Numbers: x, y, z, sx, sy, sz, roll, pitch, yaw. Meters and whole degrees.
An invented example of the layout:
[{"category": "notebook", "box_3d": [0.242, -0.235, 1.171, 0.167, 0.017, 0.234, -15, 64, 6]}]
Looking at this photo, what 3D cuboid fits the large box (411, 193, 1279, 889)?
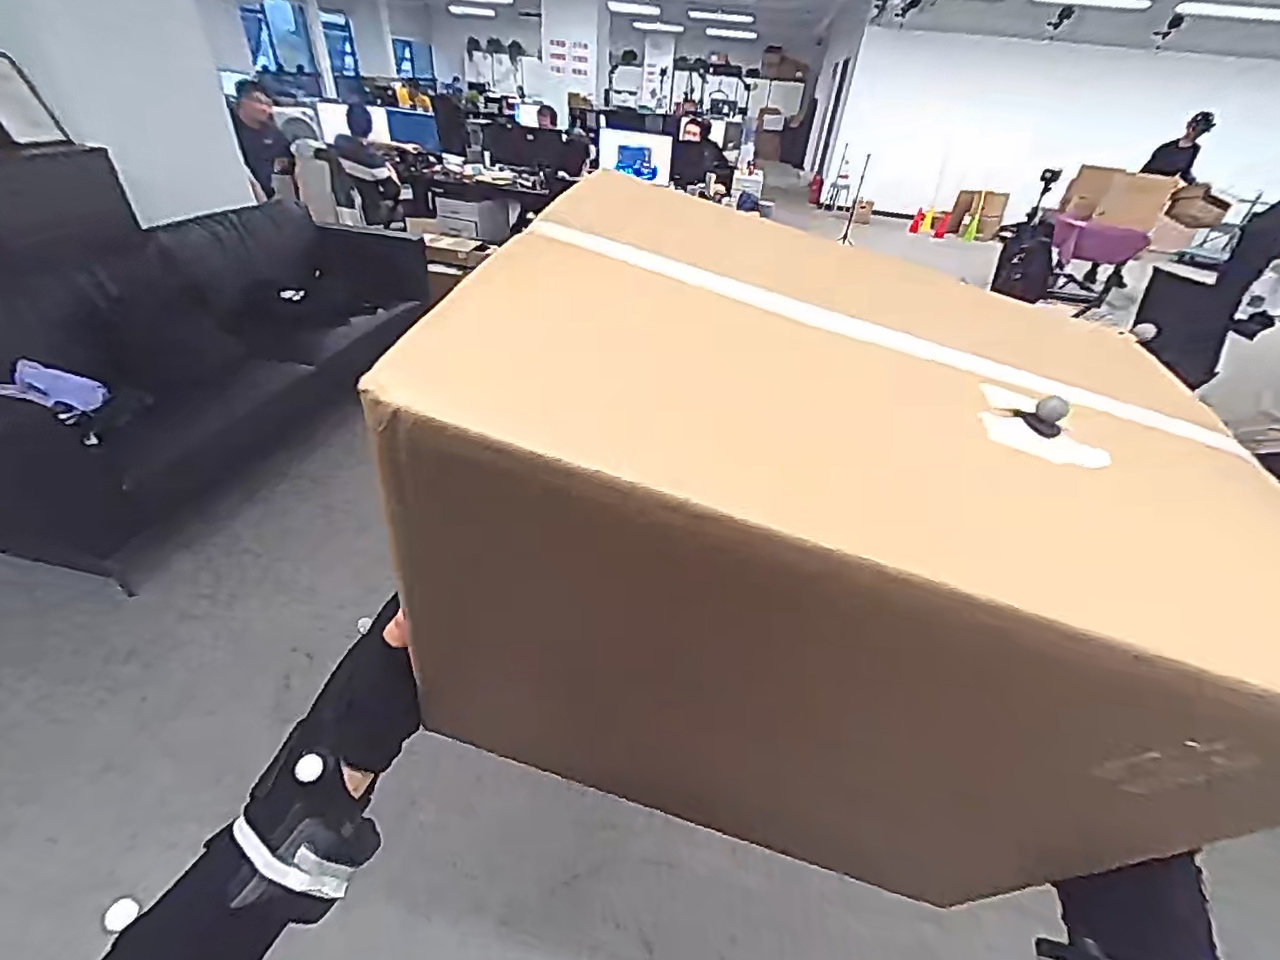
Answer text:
[{"category": "large box", "box_3d": [0.098, 0.040, 0.408, 0.408, 0.320, 0.320, 19, 44, 1]}]
